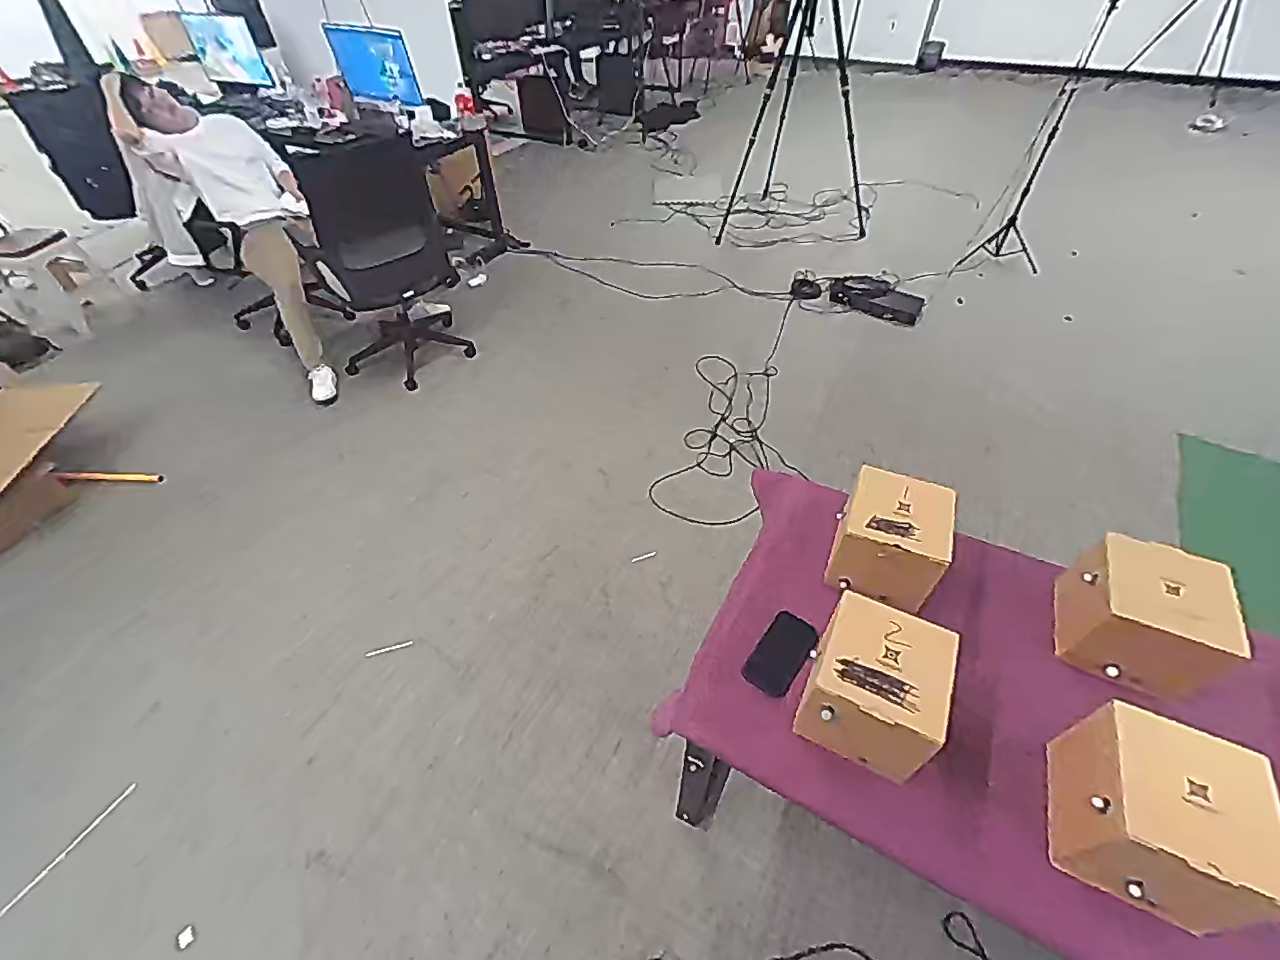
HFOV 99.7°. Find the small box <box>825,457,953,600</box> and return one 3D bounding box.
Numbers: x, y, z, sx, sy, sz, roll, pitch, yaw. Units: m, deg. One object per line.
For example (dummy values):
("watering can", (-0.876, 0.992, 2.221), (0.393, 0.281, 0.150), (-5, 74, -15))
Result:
("small box", (0.452, 0.092, 0.996), (0.168, 0.176, 0.179), (18, 50, 17))

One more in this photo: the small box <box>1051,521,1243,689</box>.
("small box", (0.807, 0.205, 0.885), (0.168, 0.176, 0.179), (20, 52, 20))

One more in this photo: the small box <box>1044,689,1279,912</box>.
("small box", (0.655, 0.412, 0.698), (0.168, 0.176, 0.179), (19, 51, 18))
